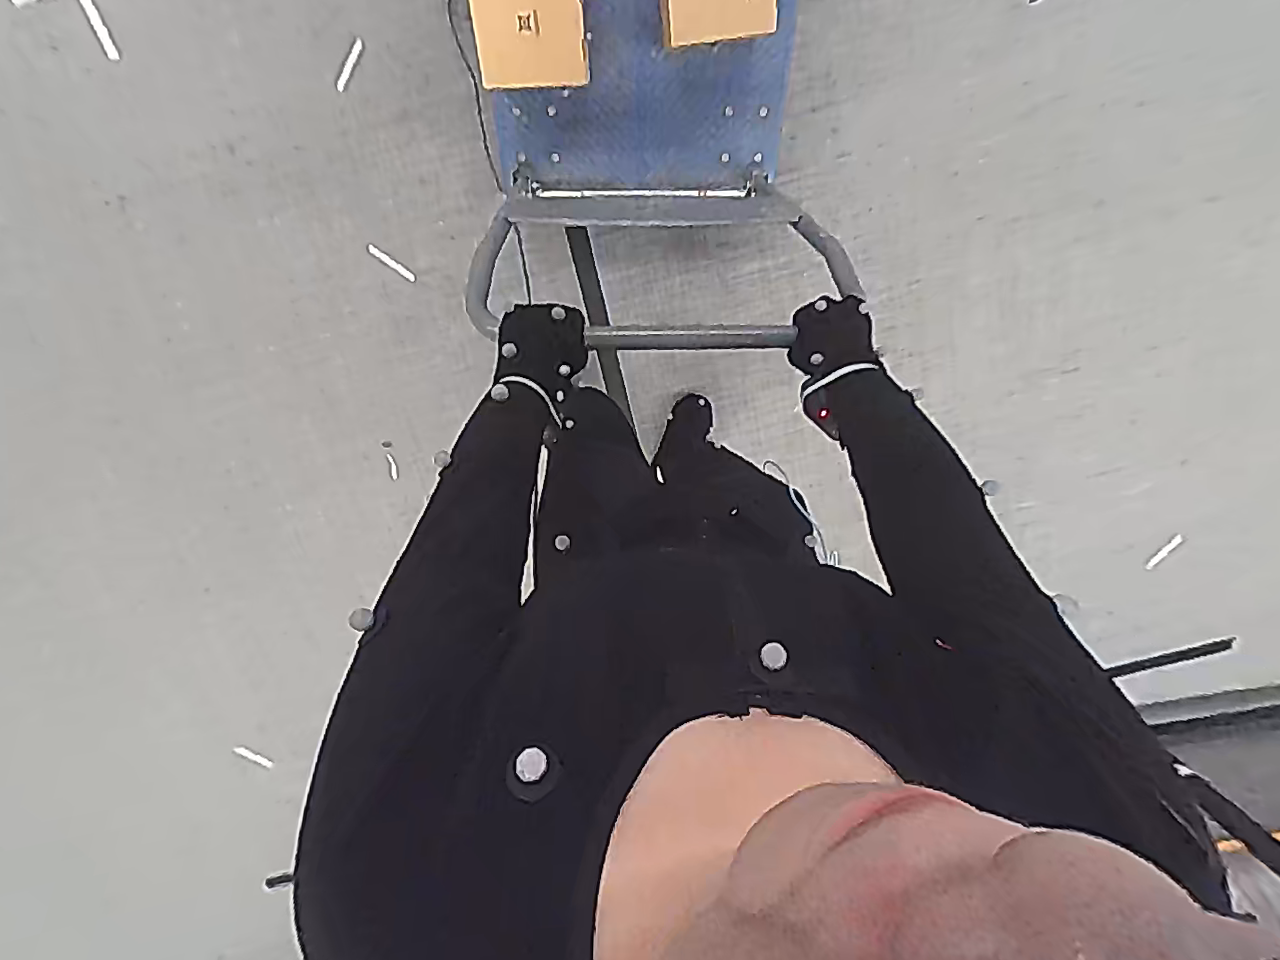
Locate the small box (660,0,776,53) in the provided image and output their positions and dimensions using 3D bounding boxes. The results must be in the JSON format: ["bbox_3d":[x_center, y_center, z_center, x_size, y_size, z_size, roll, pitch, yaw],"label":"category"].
[{"bbox_3d":[0.122,-0.827,0.898,0.179,0.176,0.168,-7,126,2],"label":"small box"}]

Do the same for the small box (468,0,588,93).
[{"bbox_3d":[-0.184,-0.768,0.926,0.179,0.176,0.168,-5,126,-2],"label":"small box"}]
